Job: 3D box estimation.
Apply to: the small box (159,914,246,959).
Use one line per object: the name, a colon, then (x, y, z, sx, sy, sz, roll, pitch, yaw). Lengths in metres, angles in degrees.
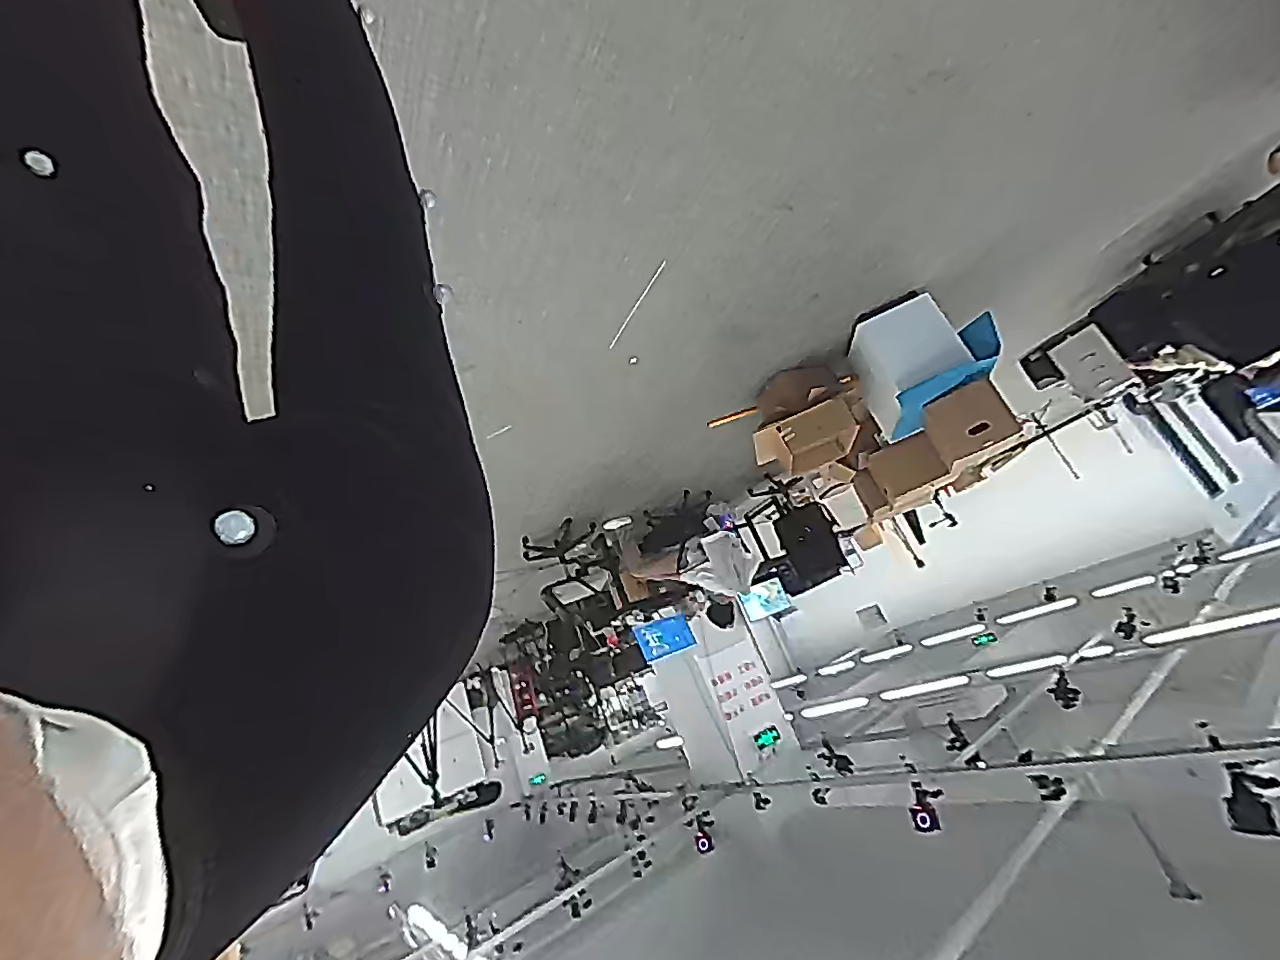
small box: (-1.315, 1.448, 1.630, 0.179, 0.176, 0.168, -10, 157, -32)
